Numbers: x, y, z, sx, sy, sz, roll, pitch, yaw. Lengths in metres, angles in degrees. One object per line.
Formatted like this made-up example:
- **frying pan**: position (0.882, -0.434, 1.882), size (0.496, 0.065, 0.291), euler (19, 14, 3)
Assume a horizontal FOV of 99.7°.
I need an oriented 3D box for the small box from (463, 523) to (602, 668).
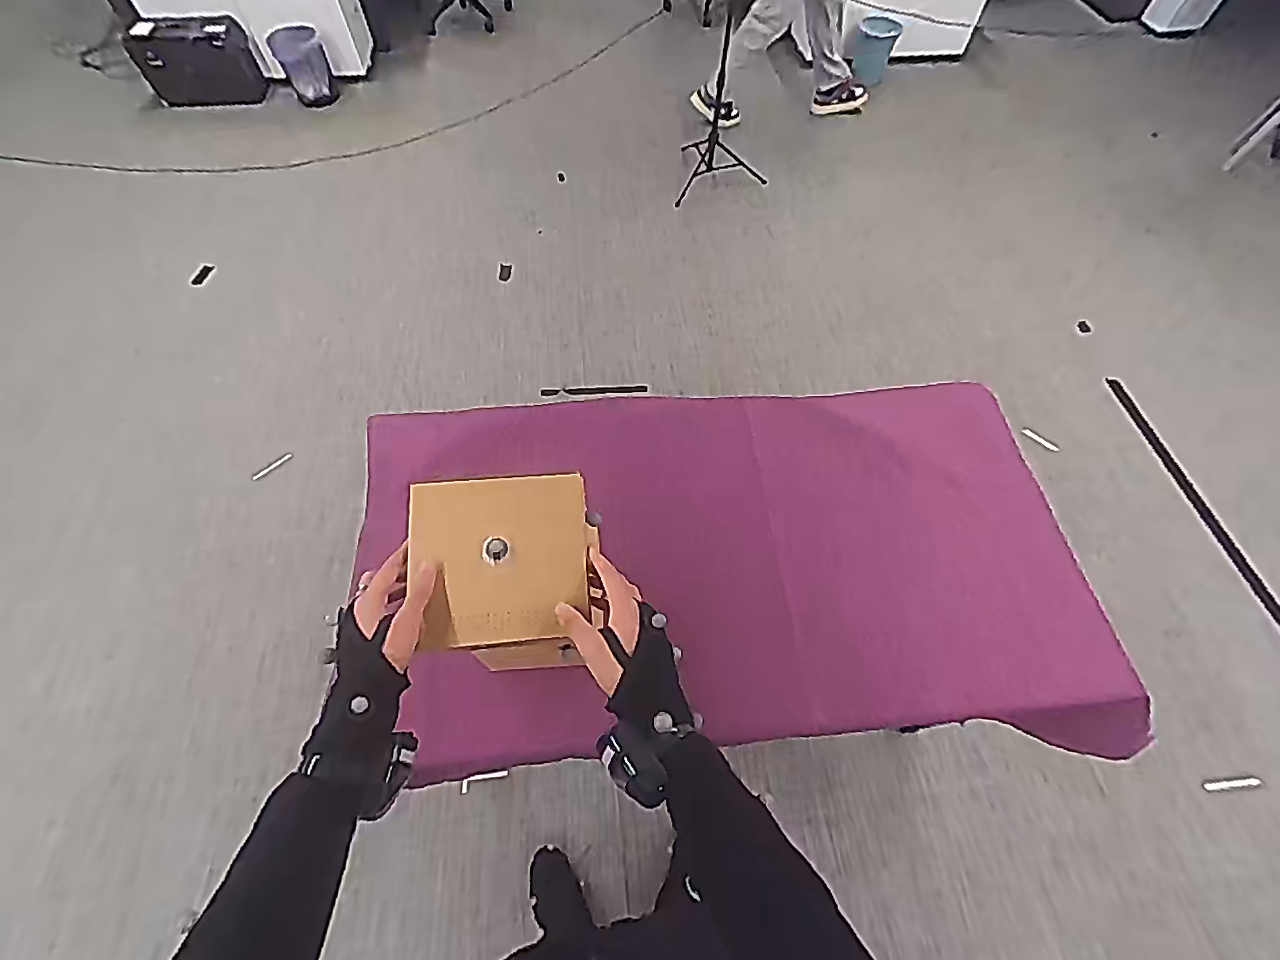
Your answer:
- **small box**: position (-0.144, 0.174, 0.795), size (0.179, 0.176, 0.168), euler (-2, 59, -3)
